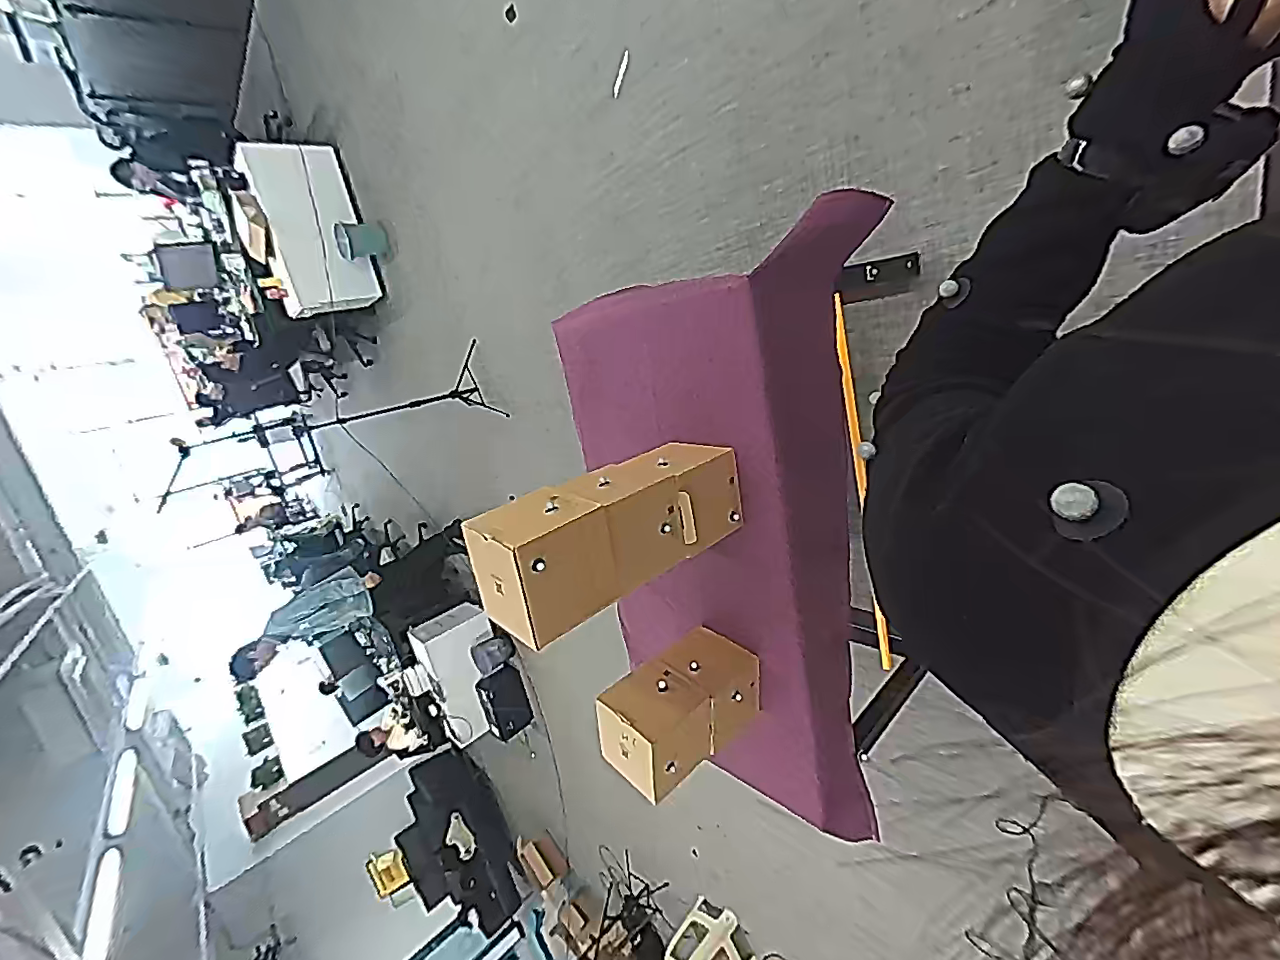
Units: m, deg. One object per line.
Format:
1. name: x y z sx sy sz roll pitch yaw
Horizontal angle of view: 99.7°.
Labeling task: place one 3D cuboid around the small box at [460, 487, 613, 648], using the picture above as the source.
1. small box: -0.160 0.130 0.875 0.168 0.176 0.179 13 119 46

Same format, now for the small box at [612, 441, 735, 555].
1. small box: 0.074 0.027 1.077 0.179 0.176 0.168 11 117 48

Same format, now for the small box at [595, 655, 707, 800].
1. small box: 0.028 0.508 1.130 0.168 0.176 0.179 21 124 42

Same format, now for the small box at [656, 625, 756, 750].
1. small box: 0.148 0.459 1.230 0.179 0.176 0.168 20 123 43
